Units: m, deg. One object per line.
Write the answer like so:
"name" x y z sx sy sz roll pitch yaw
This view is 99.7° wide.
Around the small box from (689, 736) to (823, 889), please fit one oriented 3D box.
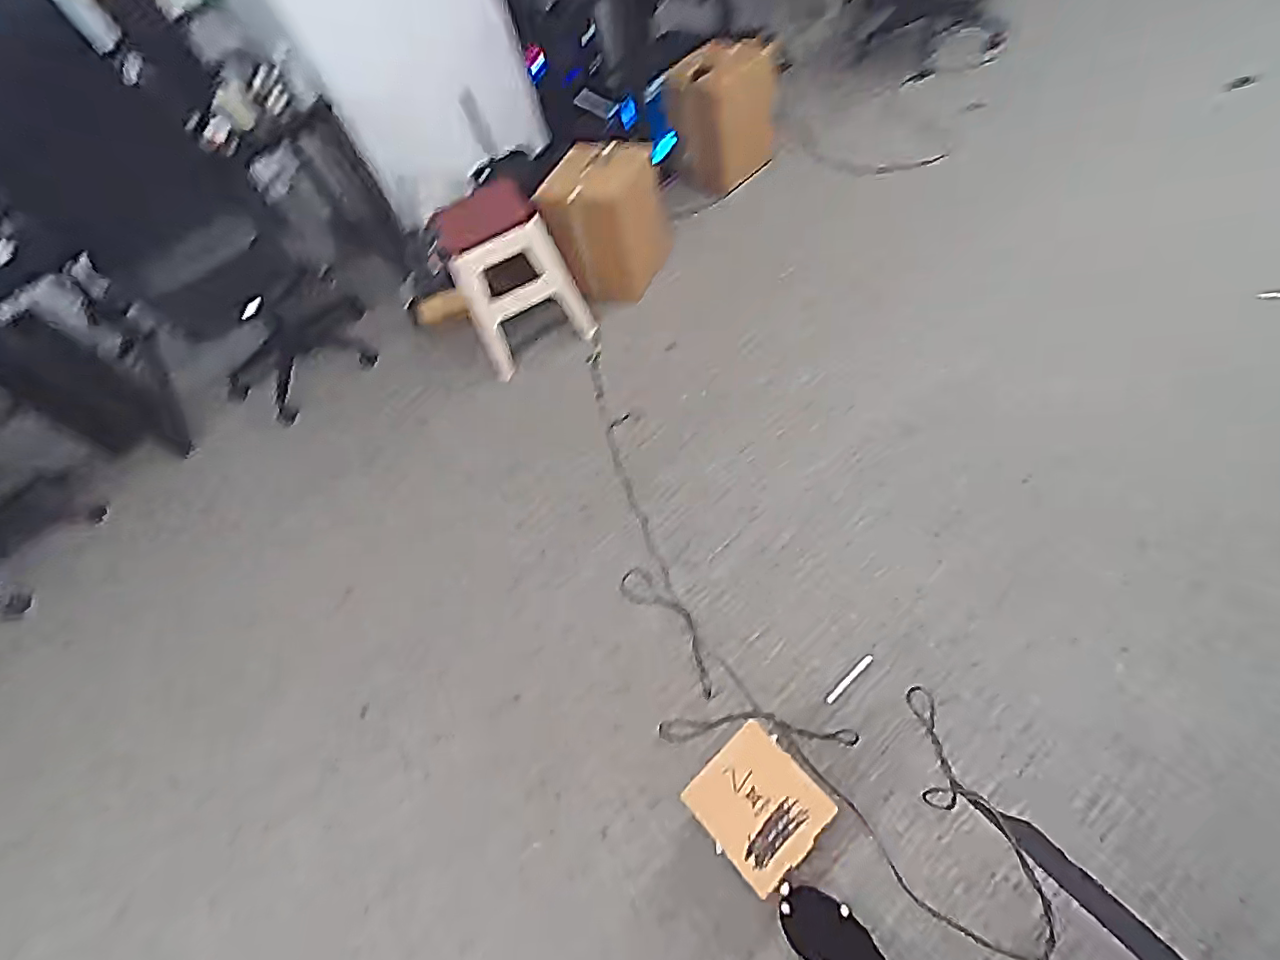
"small box" 0.216 0.621 1.015 0.168 0.176 0.179 -42 58 -14
